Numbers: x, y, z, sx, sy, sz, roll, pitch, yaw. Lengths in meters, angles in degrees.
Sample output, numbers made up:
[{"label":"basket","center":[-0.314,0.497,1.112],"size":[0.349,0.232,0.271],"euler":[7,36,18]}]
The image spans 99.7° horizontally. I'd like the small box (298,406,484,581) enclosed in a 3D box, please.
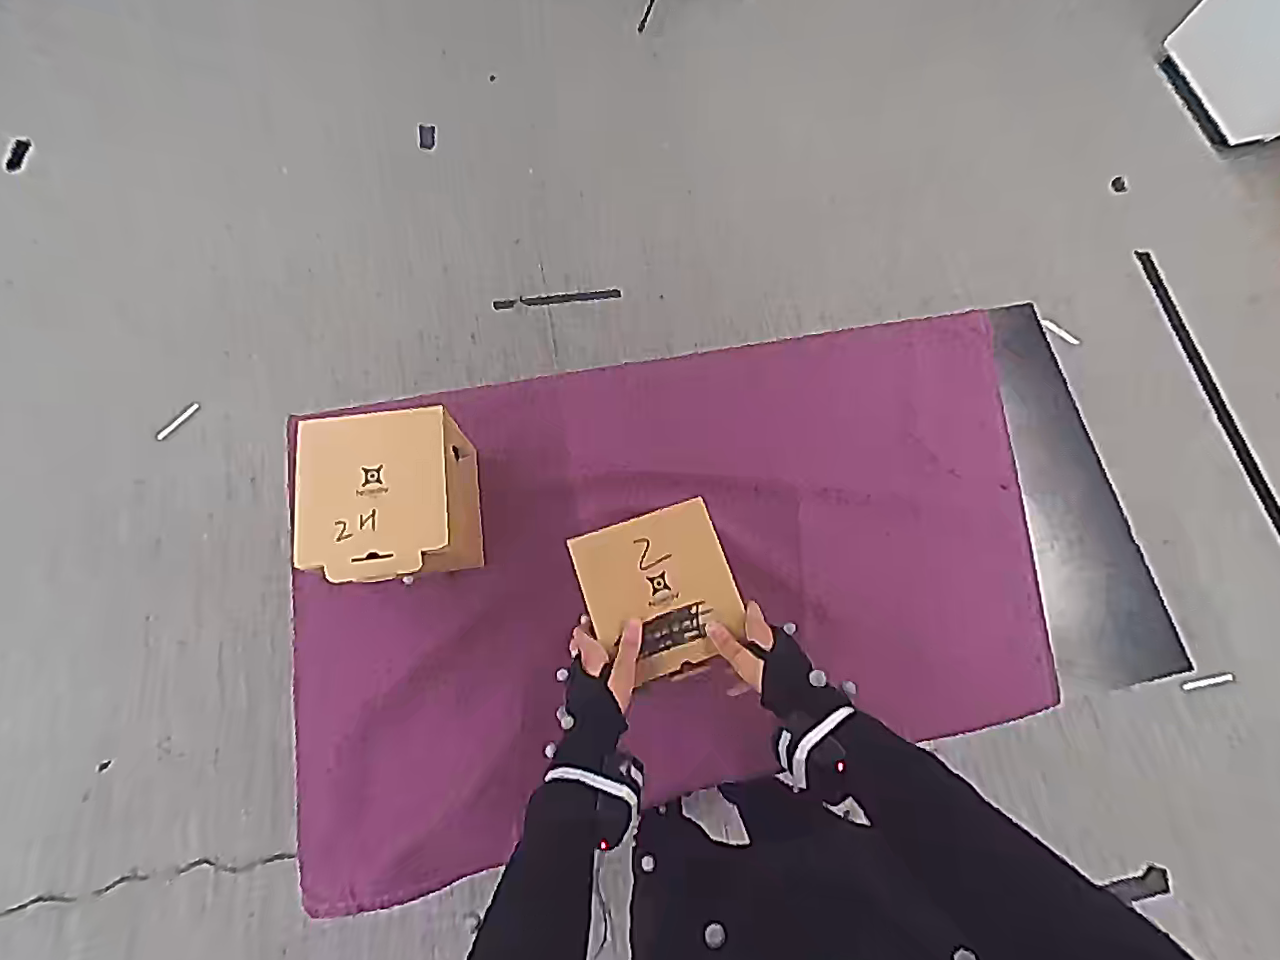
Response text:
[{"label":"small box","center":[-0.303,0.025,0.688],"size":[0.168,0.176,0.179],"euler":[-7,75,-5]}]
